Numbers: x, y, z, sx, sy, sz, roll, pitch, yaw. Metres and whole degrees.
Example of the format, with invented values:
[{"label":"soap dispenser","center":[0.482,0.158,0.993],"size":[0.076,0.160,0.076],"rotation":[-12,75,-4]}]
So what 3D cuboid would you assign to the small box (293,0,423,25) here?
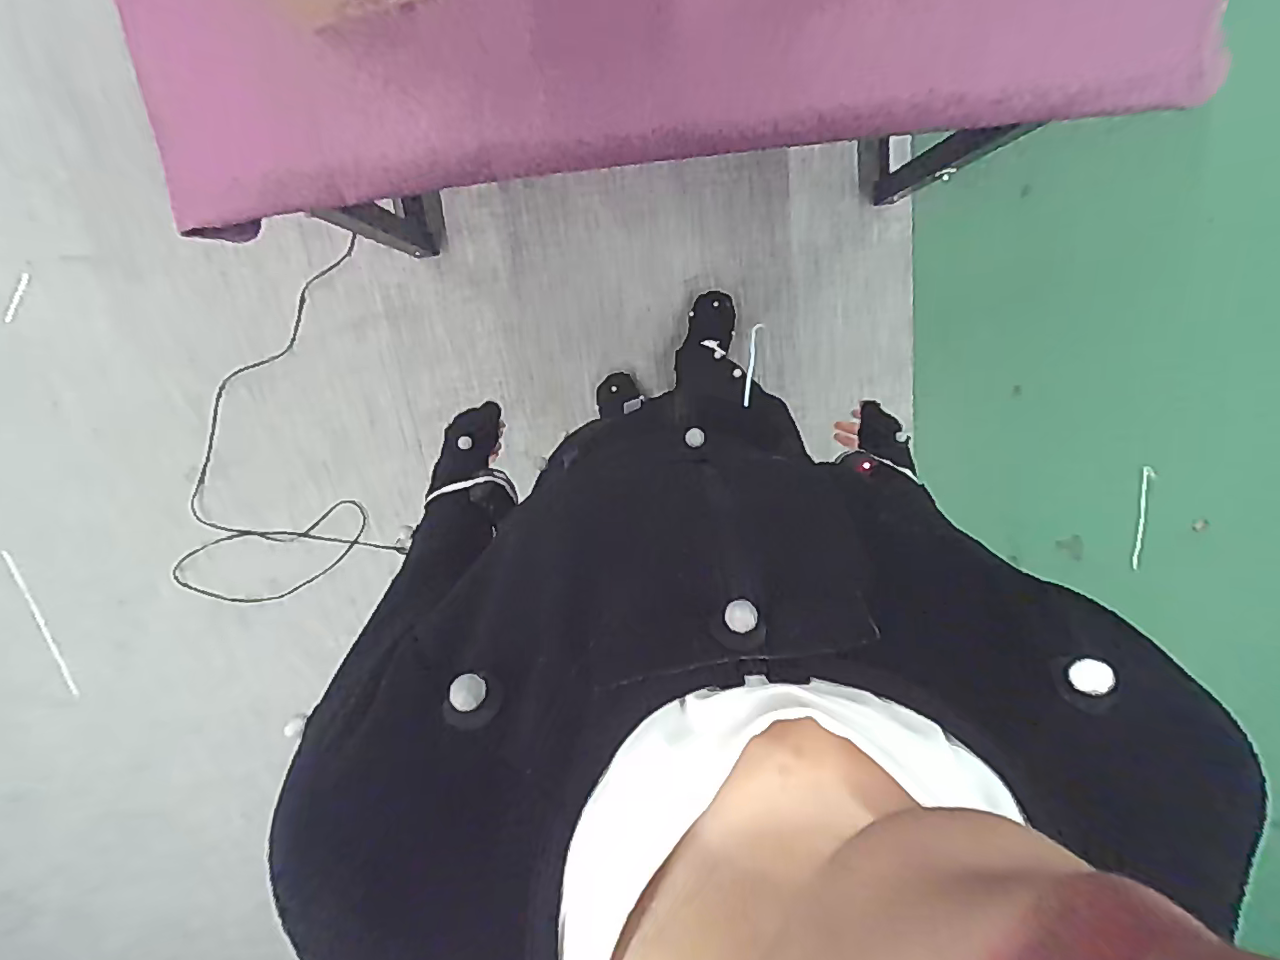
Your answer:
[{"label":"small box","center":[-0.305,-0.578,0.494],"size":[0.168,0.176,0.179],"rotation":[-13,104,2]}]
